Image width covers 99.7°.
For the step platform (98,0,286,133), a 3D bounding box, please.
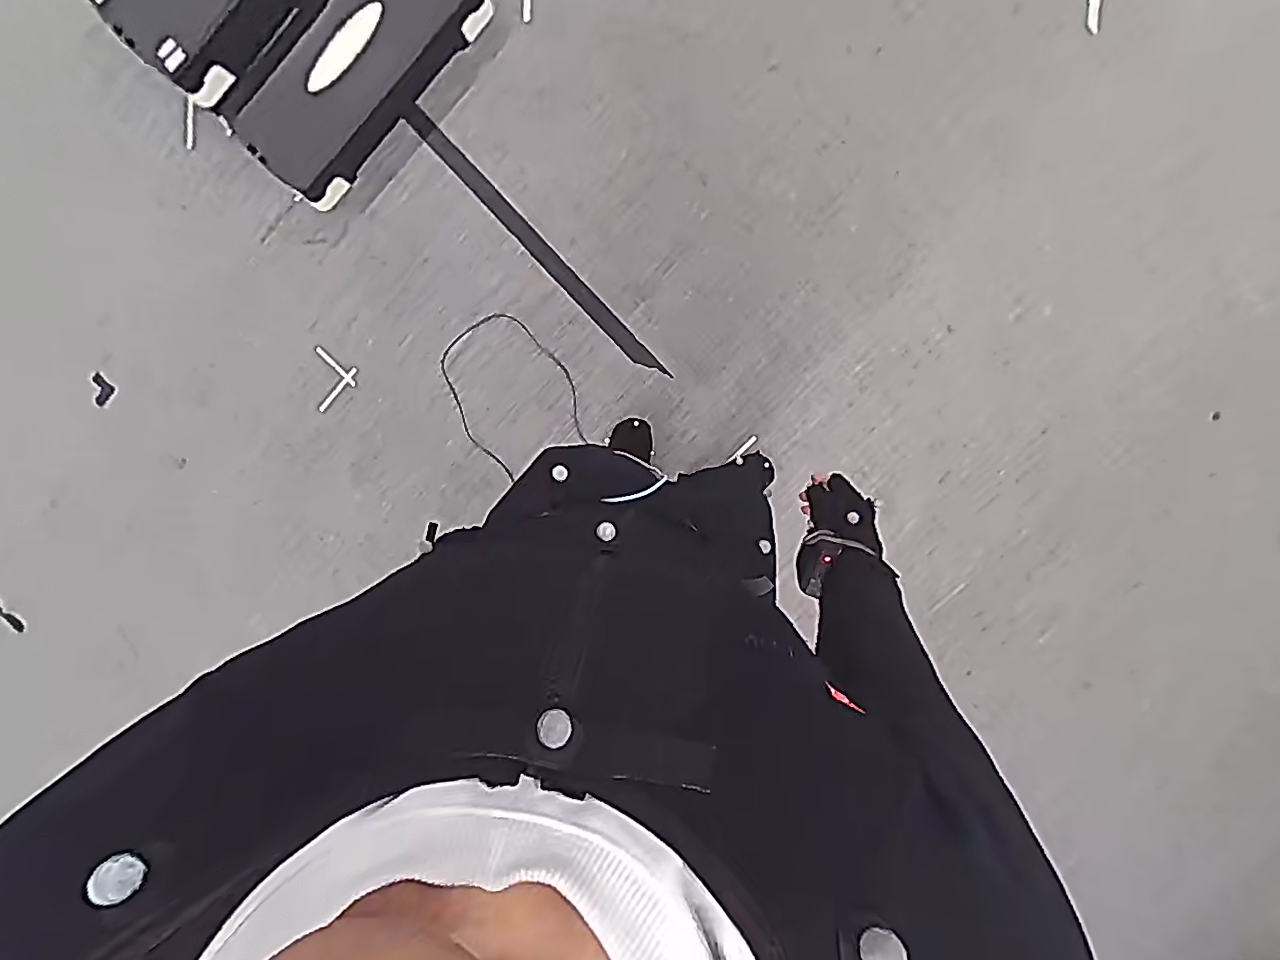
[{"bbox_3d":[-0.865,-1.170,1.223,0.286,0.204,0.684,44,97,-4],"label":"step platform"}]
